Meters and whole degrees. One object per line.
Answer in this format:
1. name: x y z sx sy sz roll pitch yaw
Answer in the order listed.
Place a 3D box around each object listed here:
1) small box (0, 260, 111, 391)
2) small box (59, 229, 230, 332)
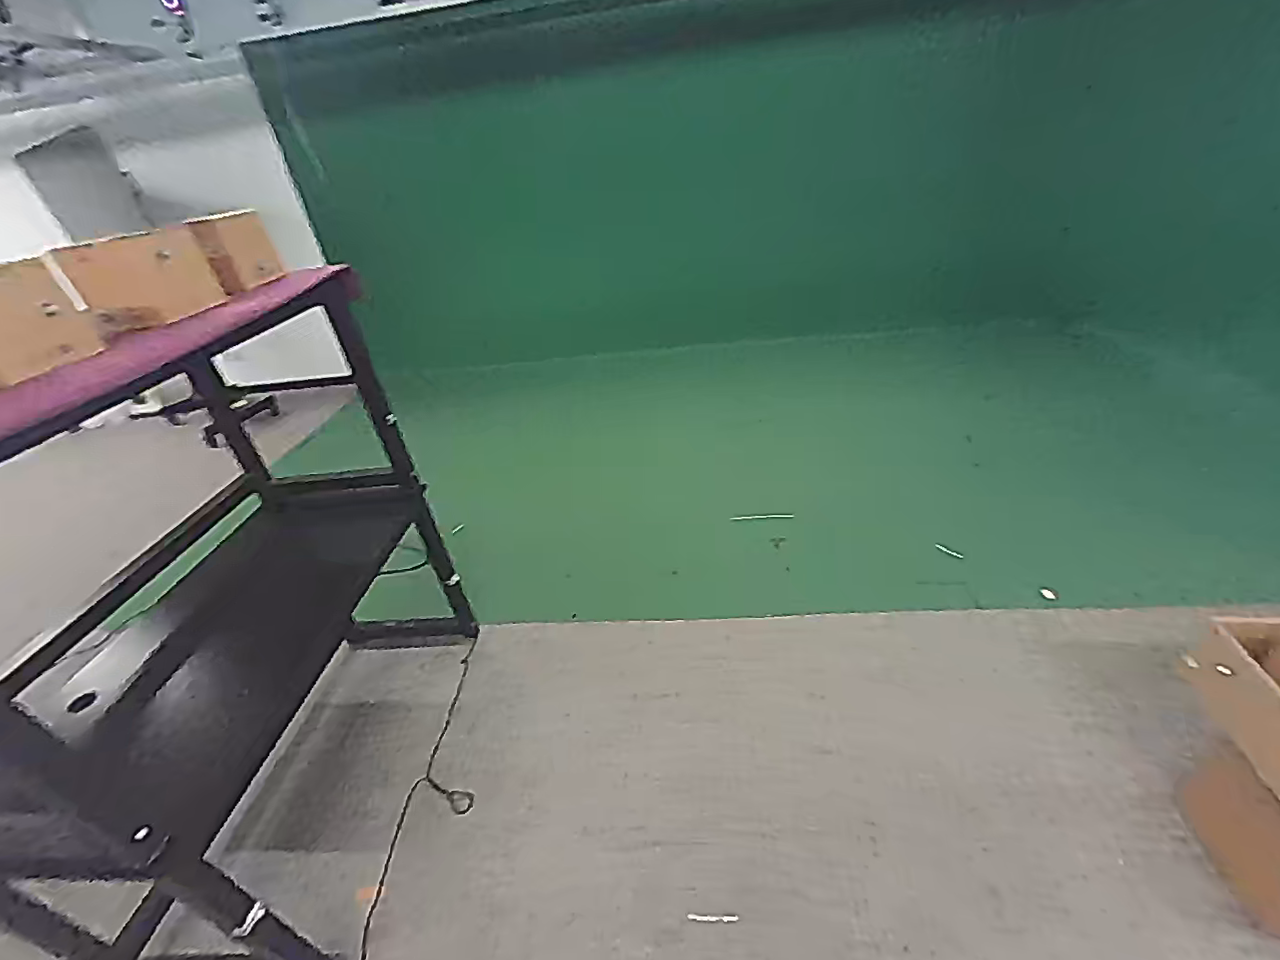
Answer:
1. small box: -1.057 -0.250 0.893 0.179 0.176 0.168 -1 32 12
2. small box: -1.037 -0.422 1.153 0.168 0.176 0.179 -5 32 7
